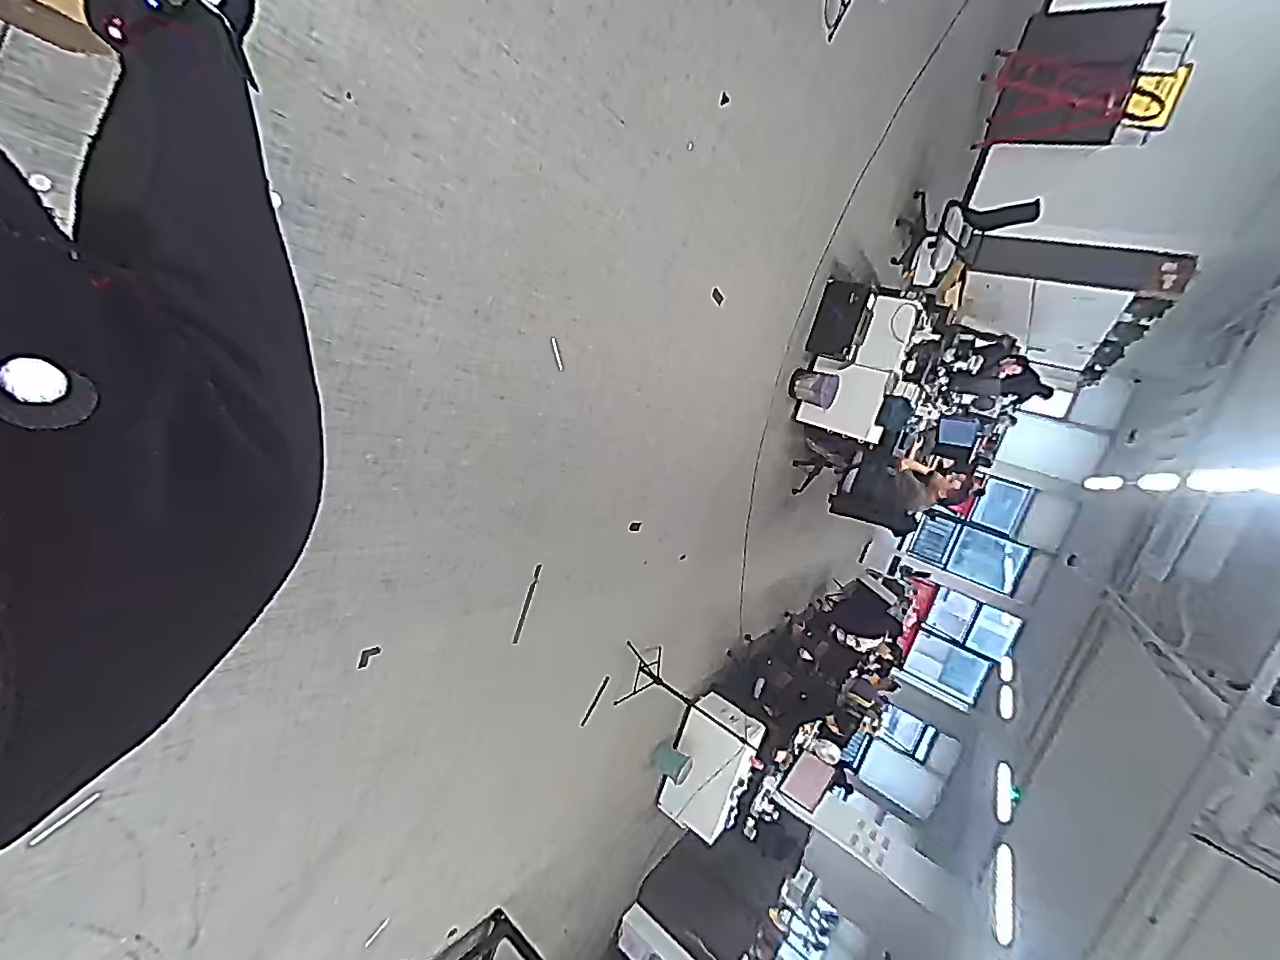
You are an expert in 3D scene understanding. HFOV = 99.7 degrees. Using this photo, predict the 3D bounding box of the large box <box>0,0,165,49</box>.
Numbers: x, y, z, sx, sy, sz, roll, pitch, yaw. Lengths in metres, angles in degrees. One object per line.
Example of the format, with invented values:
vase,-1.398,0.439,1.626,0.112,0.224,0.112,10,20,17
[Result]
large box,-0.582,-0.567,0.335,0.408,0.320,0.320,1,115,-58
